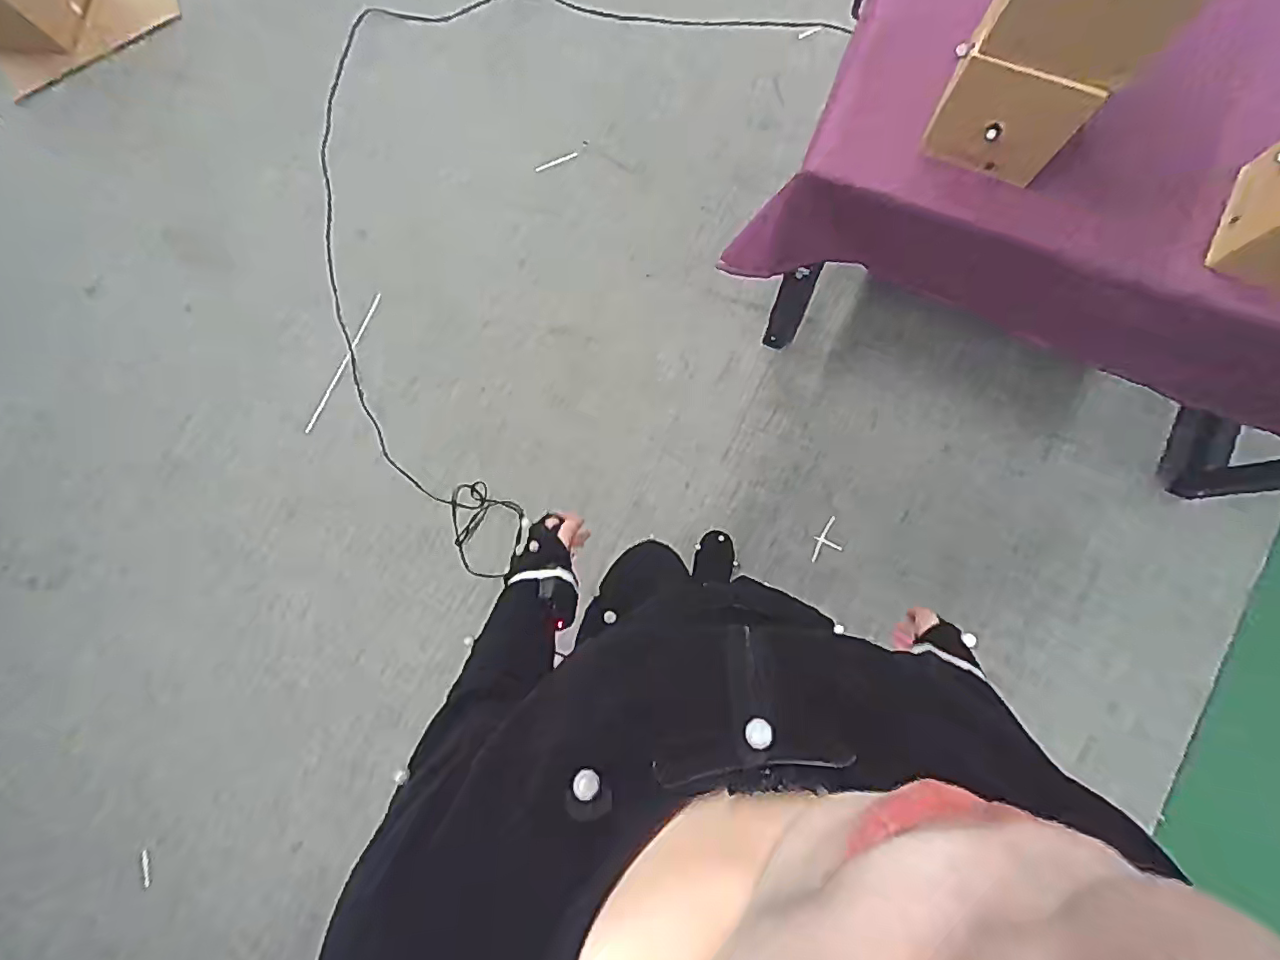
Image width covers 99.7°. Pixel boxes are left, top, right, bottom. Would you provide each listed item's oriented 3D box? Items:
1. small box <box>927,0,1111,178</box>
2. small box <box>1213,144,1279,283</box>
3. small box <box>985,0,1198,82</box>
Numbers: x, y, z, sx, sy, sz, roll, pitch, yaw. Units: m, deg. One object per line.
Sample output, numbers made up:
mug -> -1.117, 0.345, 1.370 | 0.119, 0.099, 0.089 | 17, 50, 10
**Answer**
small box -> 0.523, -0.555, 0.733 | 0.168, 0.176, 0.179 | 26, 86, 8
small box -> 0.896, -0.355, 0.673 | 0.179, 0.176, 0.168 | 24, 86, 8
small box -> 0.512, -0.574, 0.571 | 0.179, 0.176, 0.168 | 24, 87, 8
